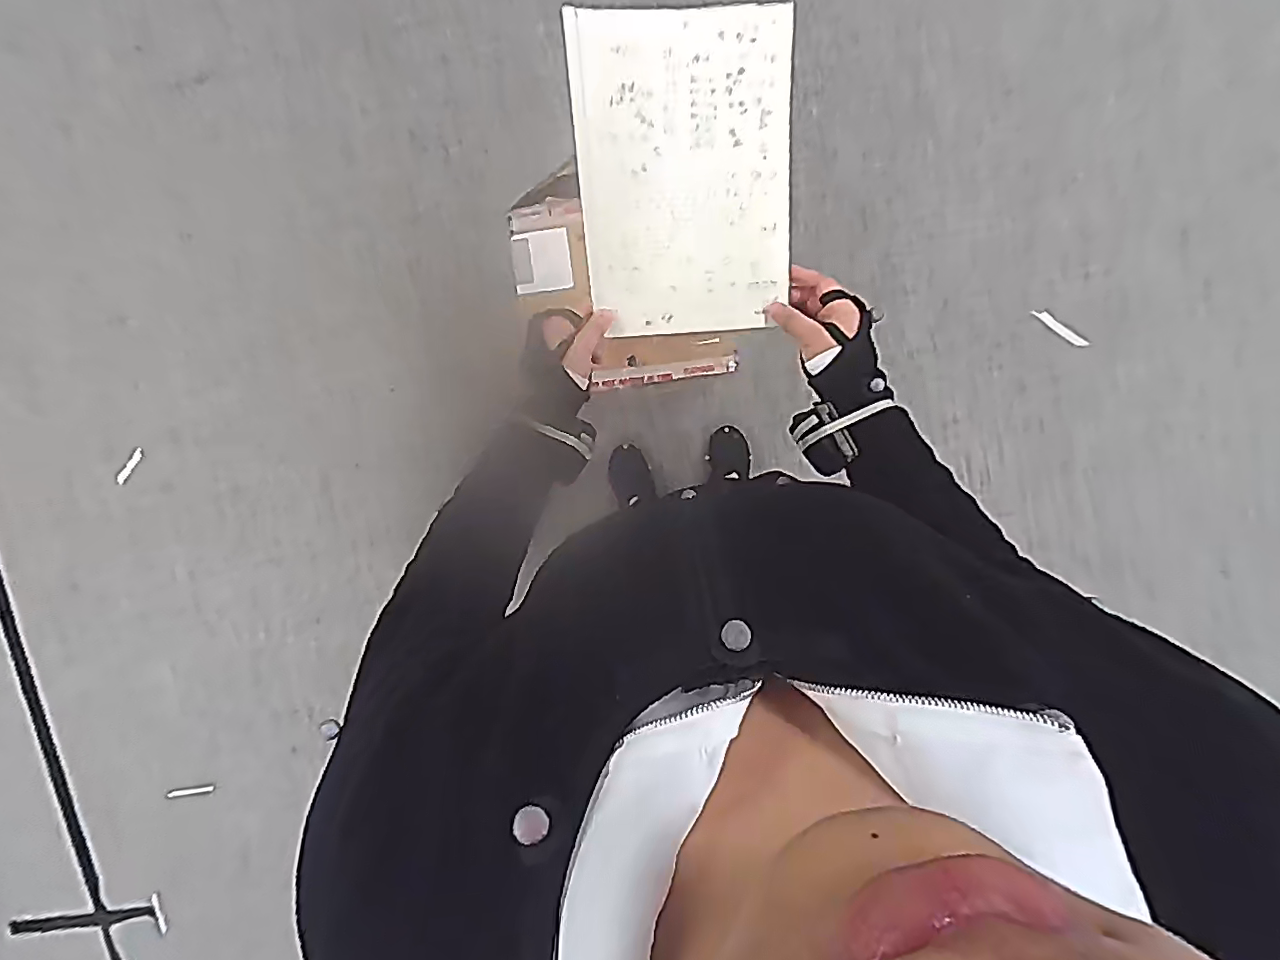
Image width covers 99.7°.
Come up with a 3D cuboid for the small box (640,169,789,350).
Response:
[{"bbox_3d":[0.092,-0.289,0.745,0.168,0.176,0.179,-10,96,2],"label":"small box"}]

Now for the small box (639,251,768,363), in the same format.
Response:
[{"bbox_3d":[0.099,-0.300,0.909,0.179,0.176,0.168,-12,96,3],"label":"small box"}]
